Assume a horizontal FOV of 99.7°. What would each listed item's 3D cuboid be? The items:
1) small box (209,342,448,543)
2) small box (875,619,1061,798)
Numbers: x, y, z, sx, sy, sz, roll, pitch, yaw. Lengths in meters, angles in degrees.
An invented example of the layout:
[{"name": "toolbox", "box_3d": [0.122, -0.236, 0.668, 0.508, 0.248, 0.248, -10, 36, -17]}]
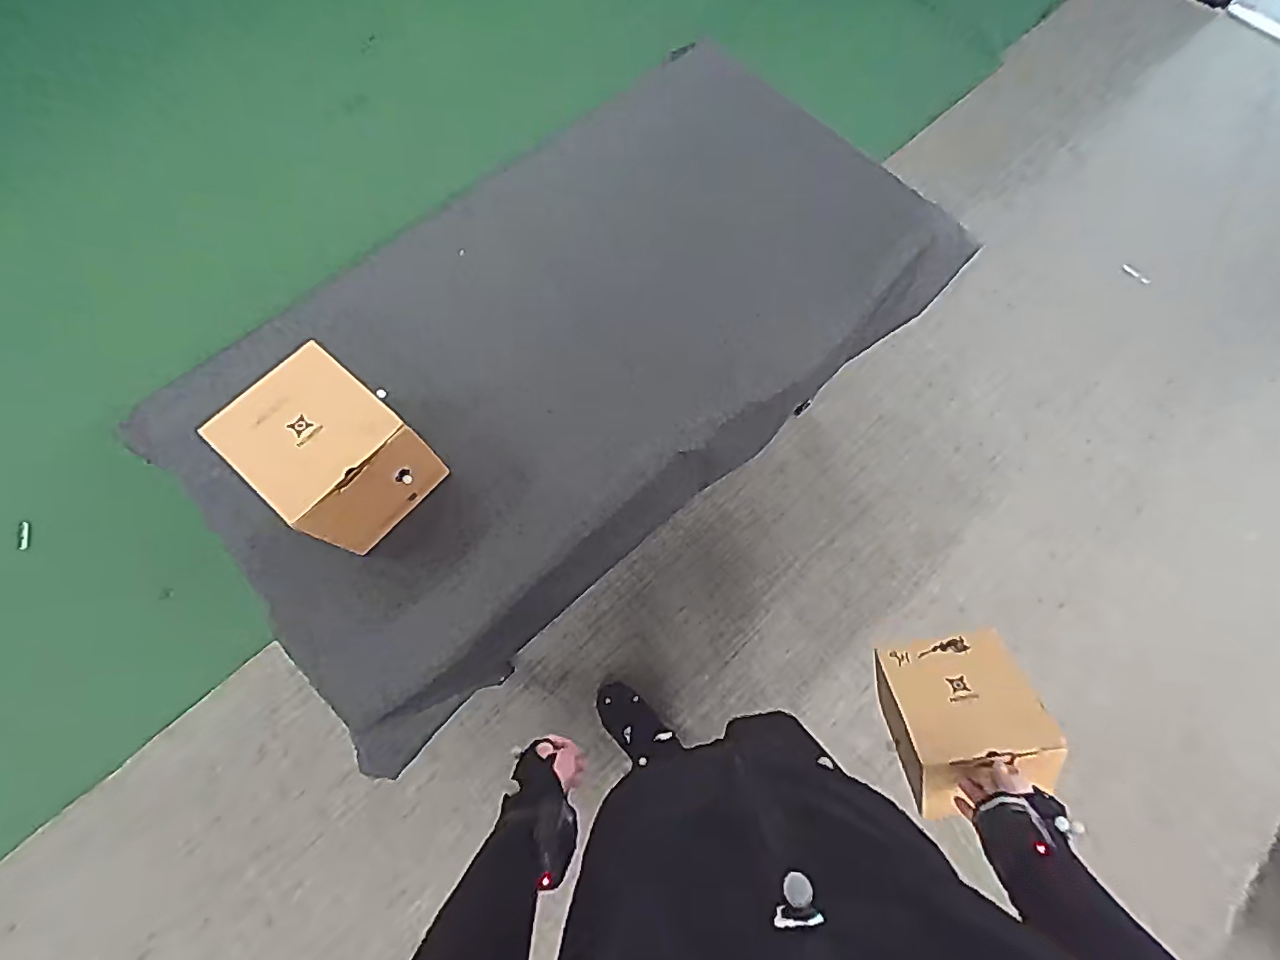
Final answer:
[{"name": "small box", "box_3d": [-0.384, -0.036, 0.704, 0.179, 0.176, 0.168, 39, 73, 12]}, {"name": "small box", "box_3d": [0.447, 0.329, 0.765, 0.168, 0.176, 0.179, -14, 39, 11]}]
